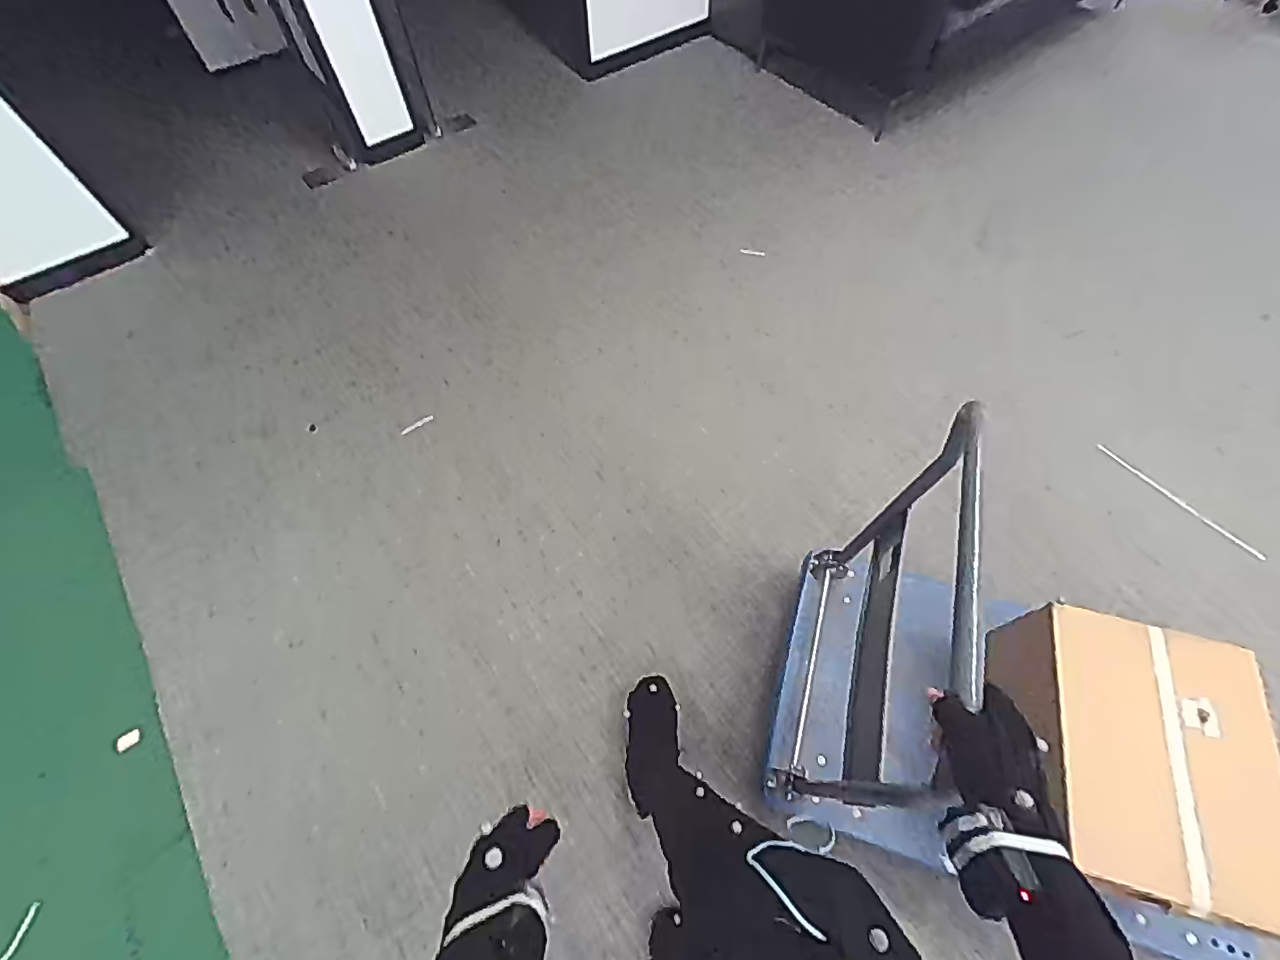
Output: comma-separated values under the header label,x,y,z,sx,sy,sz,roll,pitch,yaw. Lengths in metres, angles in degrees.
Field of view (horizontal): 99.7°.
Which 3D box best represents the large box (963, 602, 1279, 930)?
label,x,y,z,sx,sy,sz,roll,pitch,yaw
large box,0.810,0.491,0.966,0.320,0.320,0.408,14,60,9
